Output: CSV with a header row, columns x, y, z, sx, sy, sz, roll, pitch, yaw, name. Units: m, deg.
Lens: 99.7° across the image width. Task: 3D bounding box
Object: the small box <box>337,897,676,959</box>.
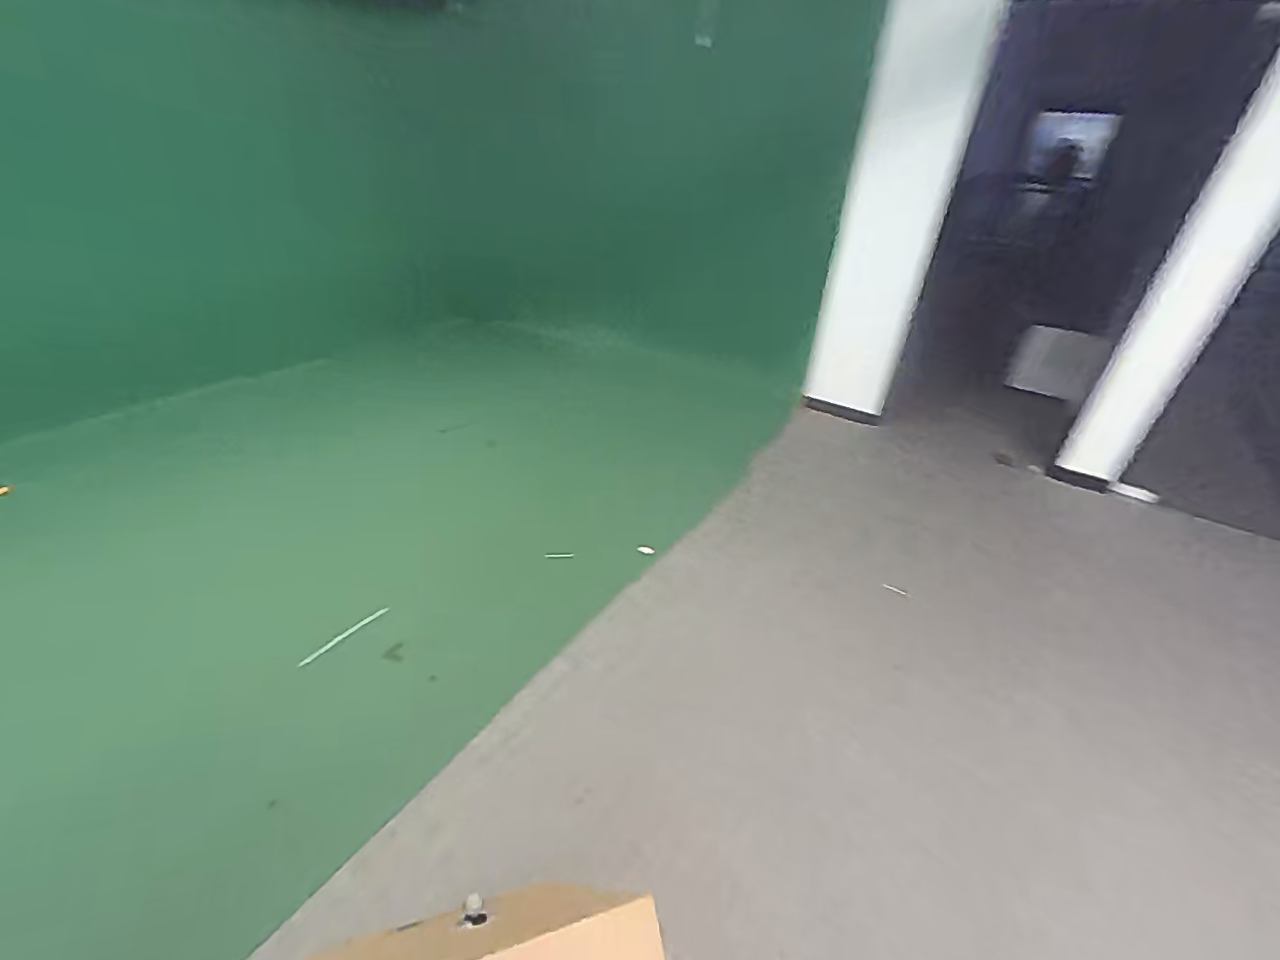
x,y,z,sx,sy,sz,roll,pitch,yaw,name
-0.079,0.344,0.282,0.168,0.176,0.179,6,58,-30,small box
